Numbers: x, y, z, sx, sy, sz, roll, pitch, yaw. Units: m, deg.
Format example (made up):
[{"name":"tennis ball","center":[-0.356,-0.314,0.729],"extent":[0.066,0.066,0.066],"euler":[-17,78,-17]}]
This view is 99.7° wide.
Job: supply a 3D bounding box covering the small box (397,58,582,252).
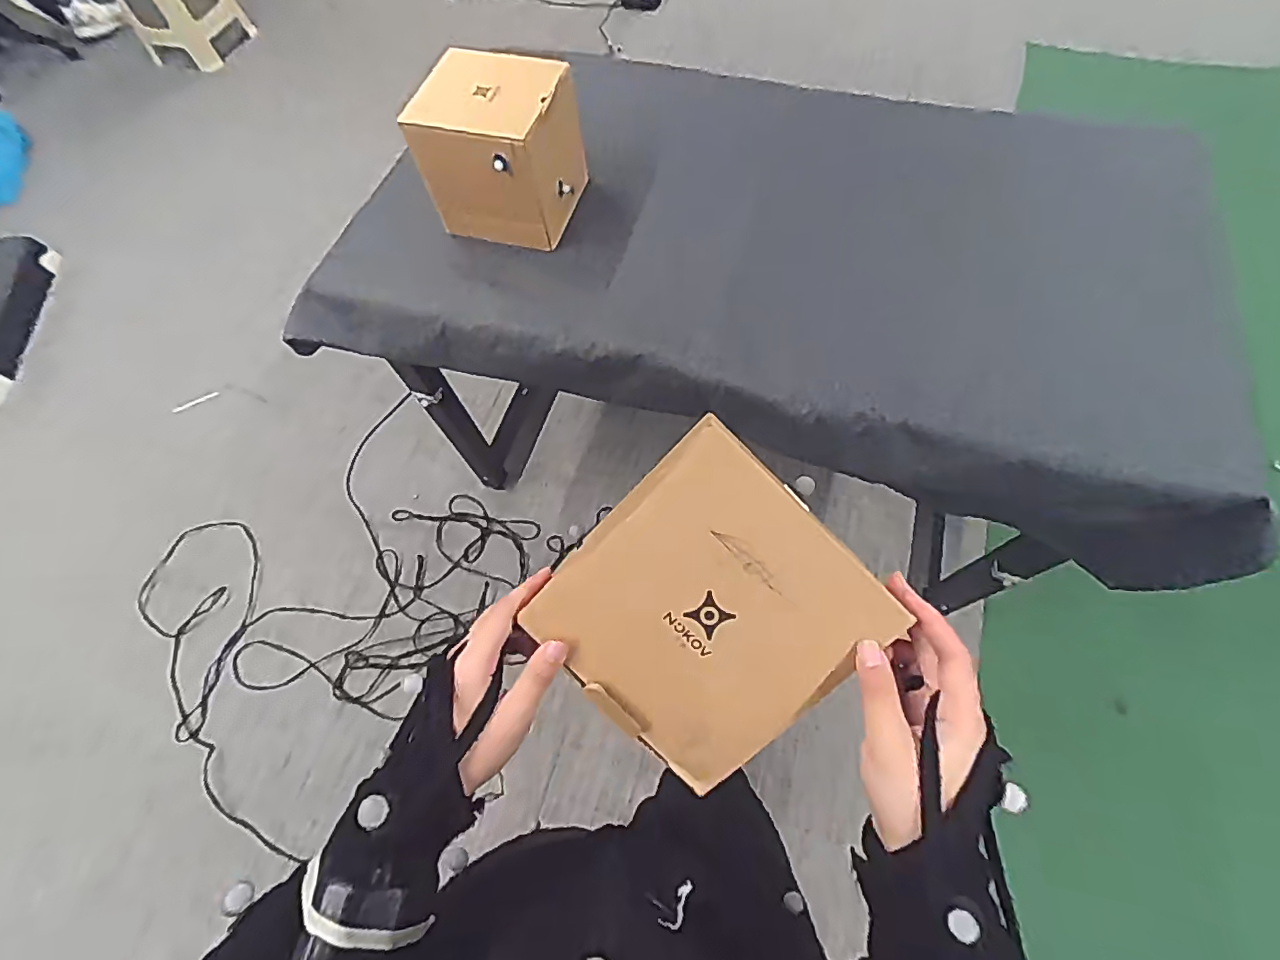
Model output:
[{"name":"small box","center":[-0.195,-0.449,0.760],"extent":[0.179,0.176,0.168],"euler":[13,66,9]}]
